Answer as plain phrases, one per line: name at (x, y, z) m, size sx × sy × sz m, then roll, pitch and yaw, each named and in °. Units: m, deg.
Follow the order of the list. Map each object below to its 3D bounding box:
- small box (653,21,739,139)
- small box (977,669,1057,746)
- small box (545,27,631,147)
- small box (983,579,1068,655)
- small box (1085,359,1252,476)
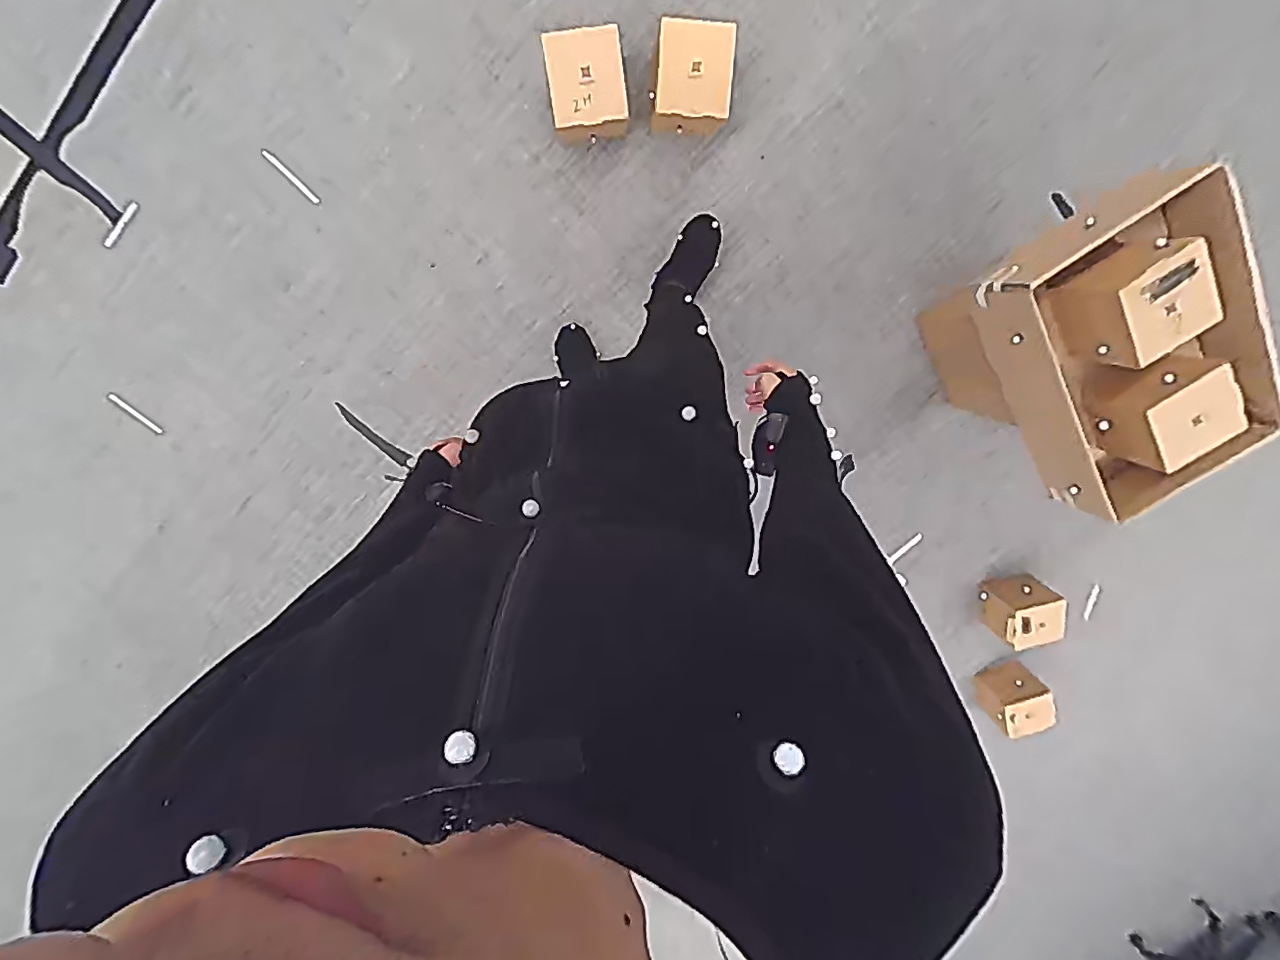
small box at (0.120, -0.915, 1.251) m, size 0.168 × 0.176 × 0.179 m, roll 1°, pitch 111°, yaw -5°
small box at (1.377, 0.826, 1.980) m, size 0.179 × 0.176 × 0.168 m, roll -20°, pitch 110°, yaw 2°
small box at (-0.116, -0.892, 1.241) m, size 0.168 × 0.176 × 0.179 m, roll -8°, pitch 111°, yaw 0°
small box at (1.304, 0.462, 1.841) m, size 0.179 × 0.176 × 0.168 m, roll -13°, pitch 111°, yaw 1°
small box at (1.119, -0.142, 1.155) m, size 0.179 × 0.176 × 0.168 m, roll -35°, pitch 108°, yaw 5°
